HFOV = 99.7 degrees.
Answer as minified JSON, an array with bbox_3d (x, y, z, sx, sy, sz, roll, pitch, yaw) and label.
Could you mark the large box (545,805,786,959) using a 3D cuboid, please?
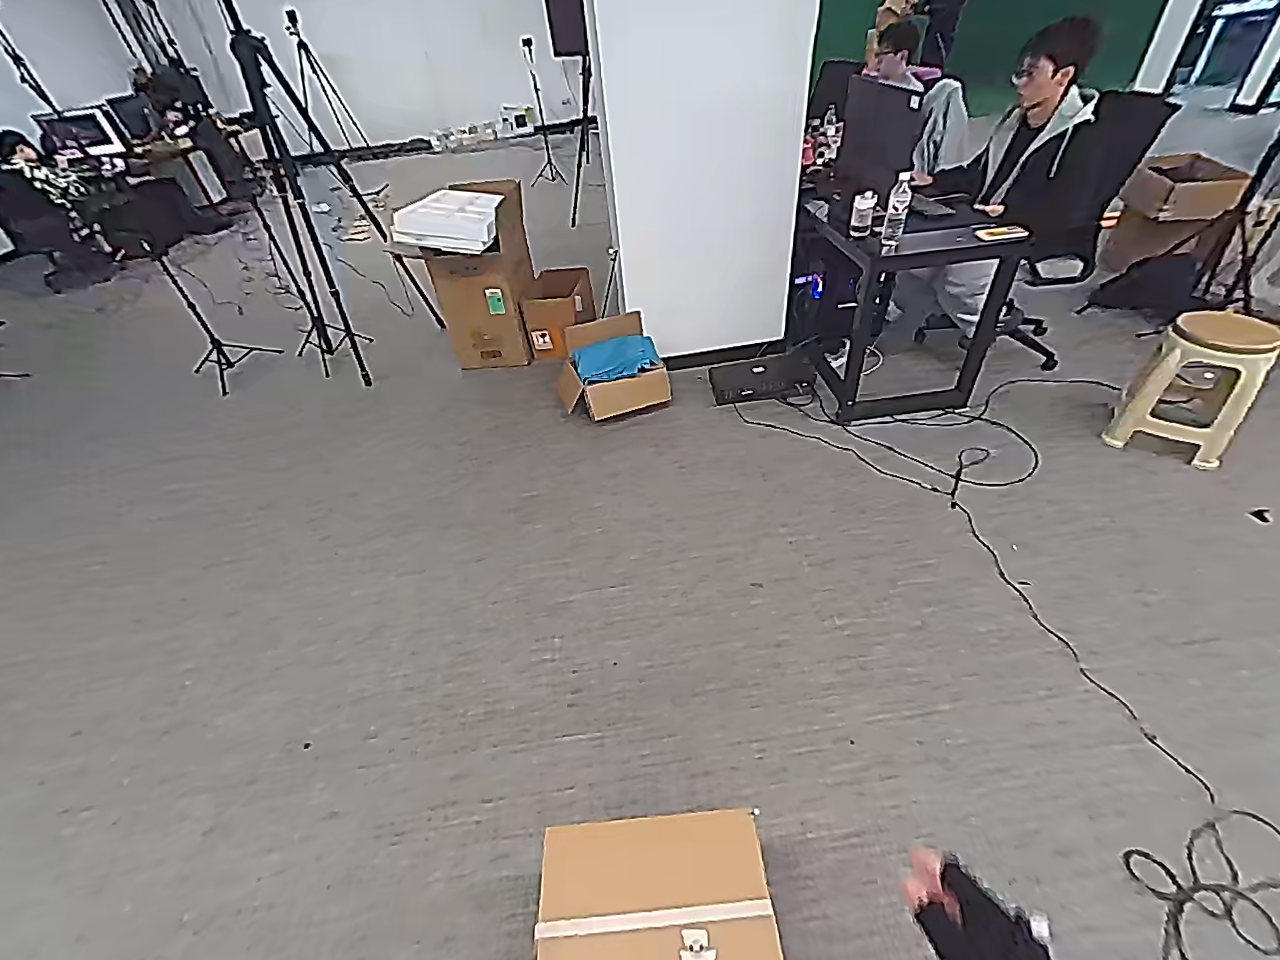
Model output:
[{"bbox_3d":[0.045,0.862,1.026,0.408,0.320,0.320,-6,41,0],"label":"large box"}]
